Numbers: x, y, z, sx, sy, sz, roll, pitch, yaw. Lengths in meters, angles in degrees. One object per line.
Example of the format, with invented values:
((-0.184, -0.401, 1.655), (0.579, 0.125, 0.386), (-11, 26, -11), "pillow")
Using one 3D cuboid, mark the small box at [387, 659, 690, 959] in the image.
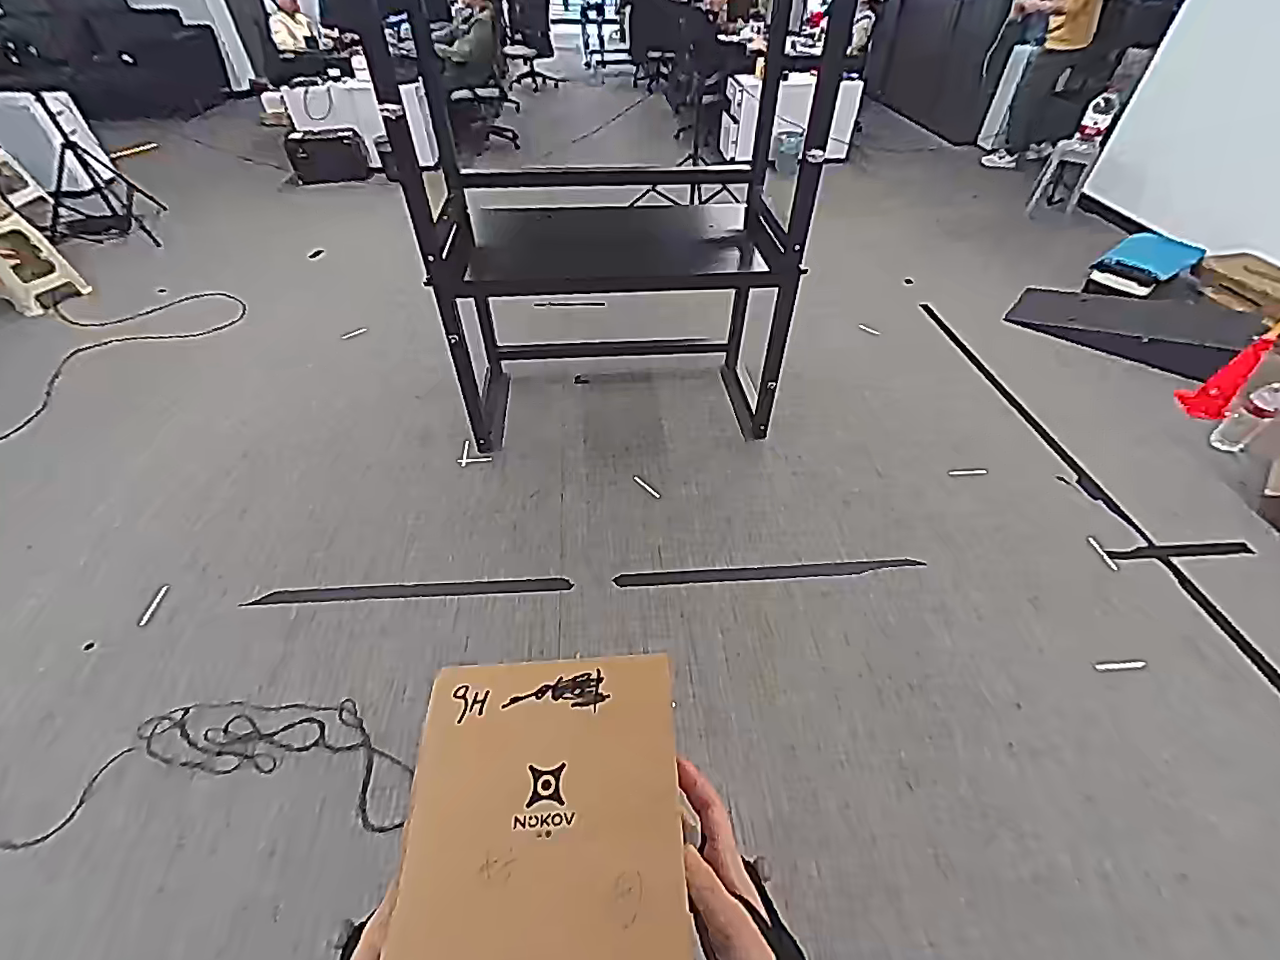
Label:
((-0.053, 0.247, 0.392), (0.168, 0.176, 0.179), (-3, 51, 0), "small box")
